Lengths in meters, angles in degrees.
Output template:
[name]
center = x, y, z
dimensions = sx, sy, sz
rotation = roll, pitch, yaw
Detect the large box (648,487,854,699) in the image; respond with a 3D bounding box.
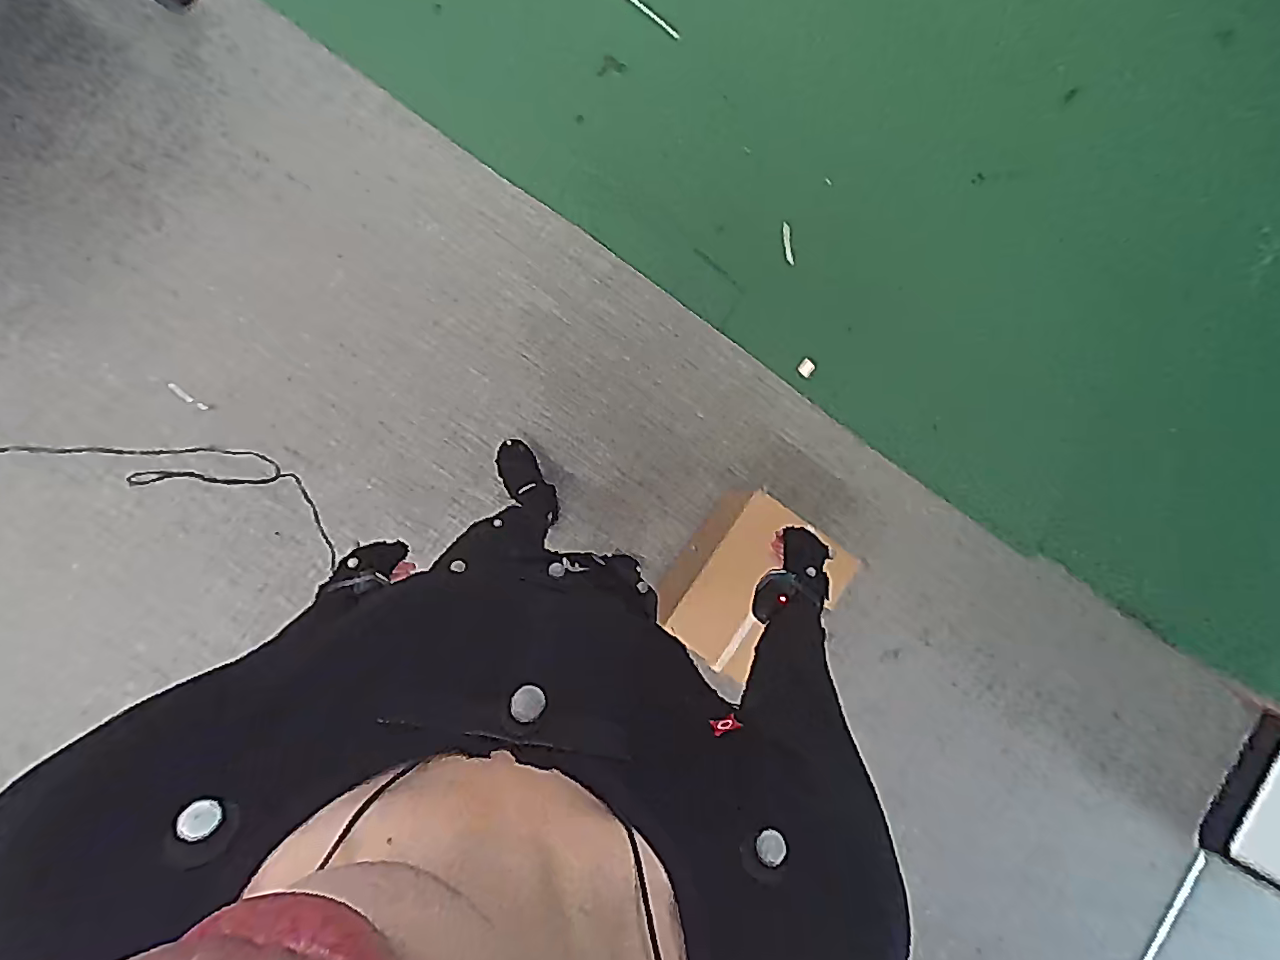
[large box]
center = 0.264, 0.273, 1.413
dimensions = 0.320, 0.320, 0.408
rotation = 36, 84, -4
